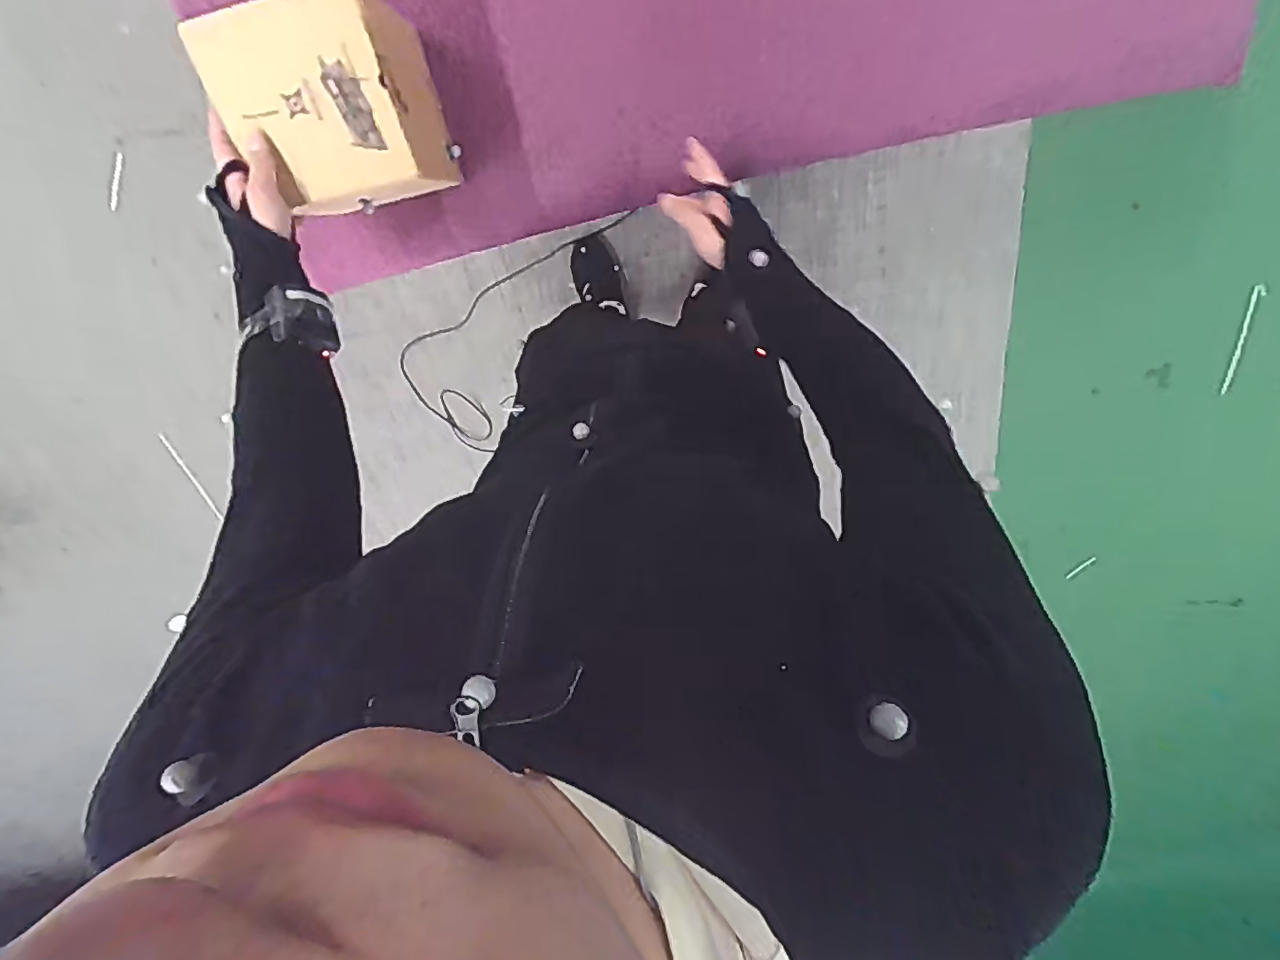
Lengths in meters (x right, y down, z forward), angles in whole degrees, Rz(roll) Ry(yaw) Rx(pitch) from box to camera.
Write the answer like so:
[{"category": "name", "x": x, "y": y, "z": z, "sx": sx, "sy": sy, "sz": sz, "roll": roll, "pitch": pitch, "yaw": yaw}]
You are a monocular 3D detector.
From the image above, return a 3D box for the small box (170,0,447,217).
[{"category": "small box", "x": -0.331, "y": -0.399, "z": 0.592, "sx": 0.179, "sy": 0.176, "sz": 0.168, "roll": -11, "pitch": 117, "yaw": 5}]
